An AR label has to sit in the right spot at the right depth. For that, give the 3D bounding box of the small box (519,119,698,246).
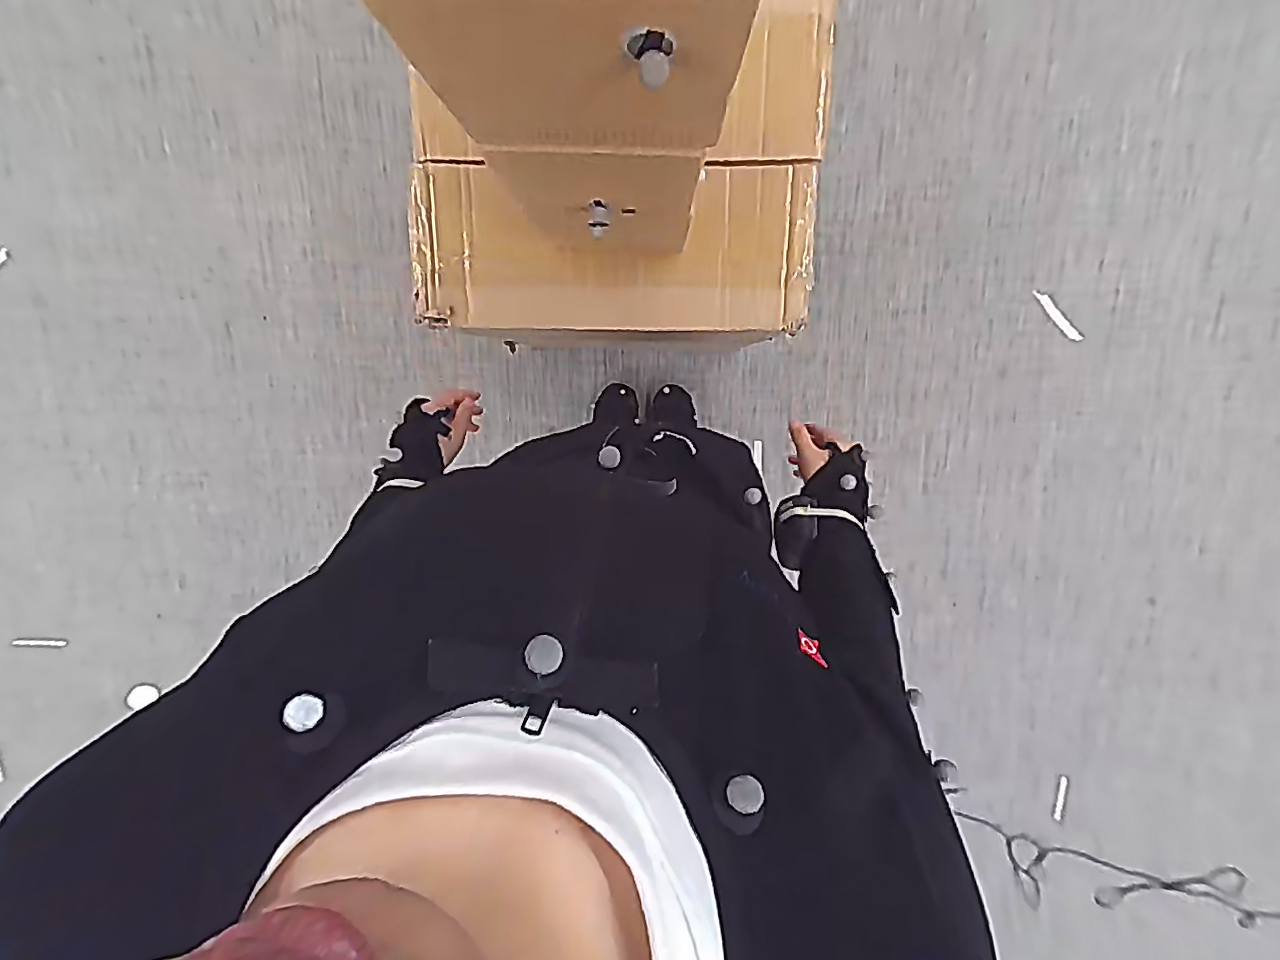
[{"bbox_3d":[-0.028,-0.368,0.603,0.179,0.176,0.168,3,102,1],"label":"small box"}]

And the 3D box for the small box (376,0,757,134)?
[{"bbox_3d":[-0.031,-0.304,0.280,0.179,0.176,0.168,2,101,1],"label":"small box"}]
